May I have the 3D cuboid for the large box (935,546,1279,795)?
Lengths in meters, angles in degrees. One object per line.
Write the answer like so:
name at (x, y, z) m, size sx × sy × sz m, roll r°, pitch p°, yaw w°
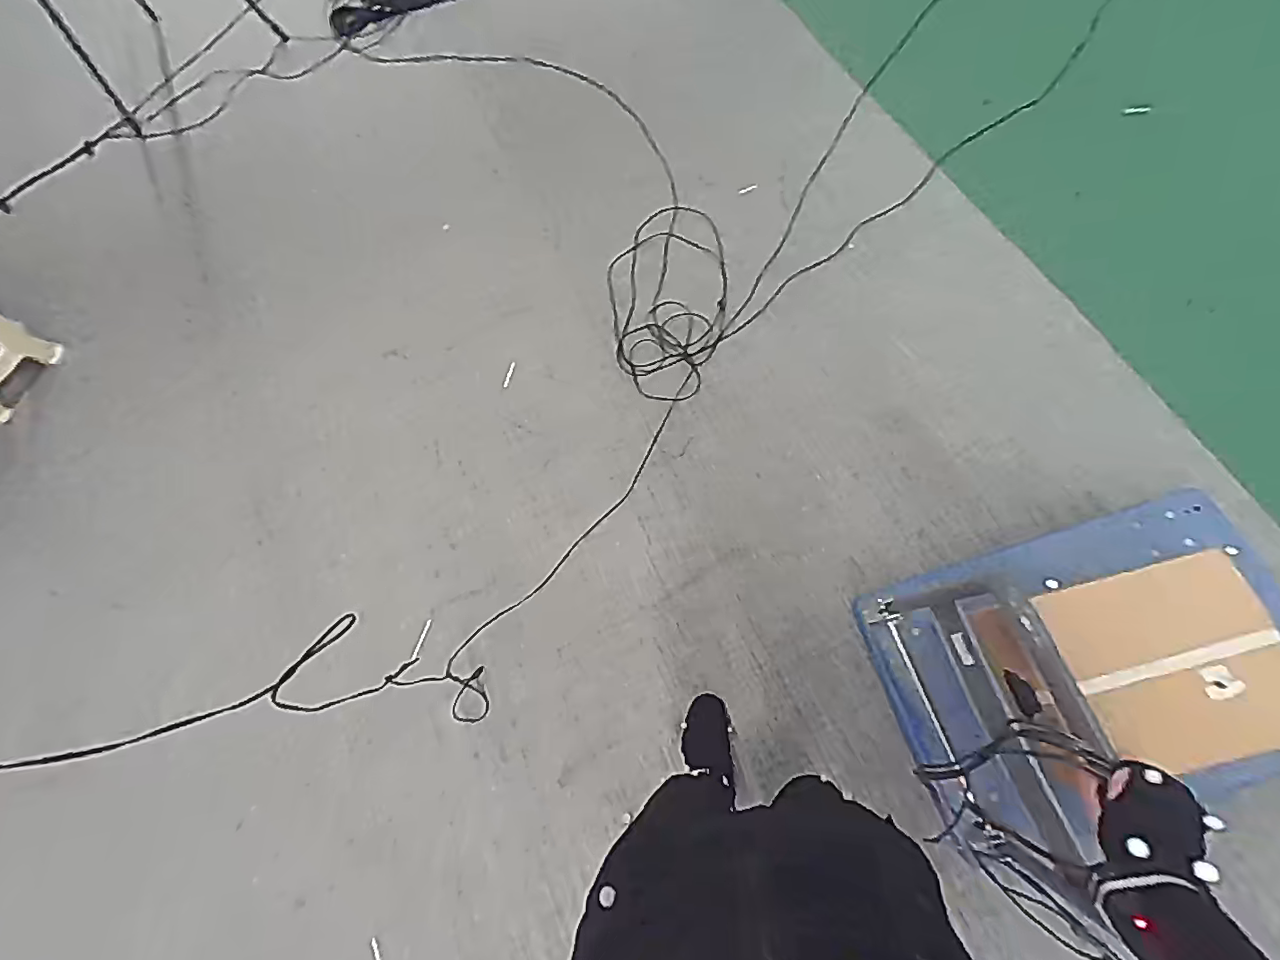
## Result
large box at (0.883, 0.361, 1.049) m, size 0.408 × 0.320 × 0.320 m, roll -16°, pitch 70°, yaw 1°
